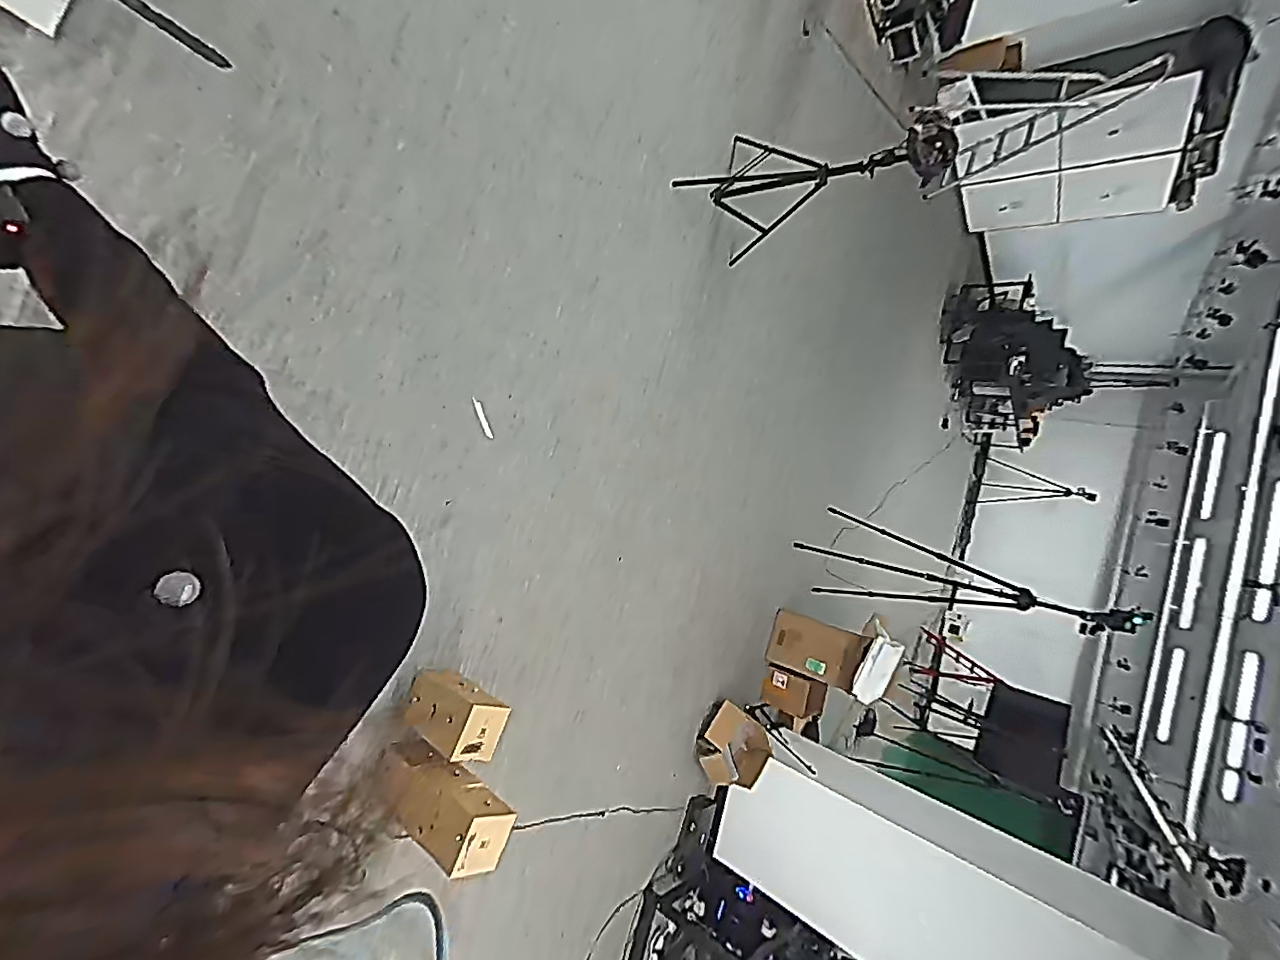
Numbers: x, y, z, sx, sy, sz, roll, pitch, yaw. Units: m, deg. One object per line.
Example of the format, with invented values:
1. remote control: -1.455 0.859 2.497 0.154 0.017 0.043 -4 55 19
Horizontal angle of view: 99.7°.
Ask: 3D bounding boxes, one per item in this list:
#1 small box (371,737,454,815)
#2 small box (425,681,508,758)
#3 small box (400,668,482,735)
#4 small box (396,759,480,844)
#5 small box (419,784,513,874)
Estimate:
1. small box: -0.775 0.996 1.840 0.179 0.176 0.168 23 81 -51
2. small box: -0.573 0.783 1.766 0.168 0.176 0.179 36 71 -49
3. small box: -0.693 0.767 1.879 0.179 0.176 0.168 30 75 -50
4. small box: -0.651 1.022 1.738 0.168 0.176 0.179 26 79 -51
5. small box: -0.525 1.045 1.635 0.179 0.176 0.168 37 70 -50
